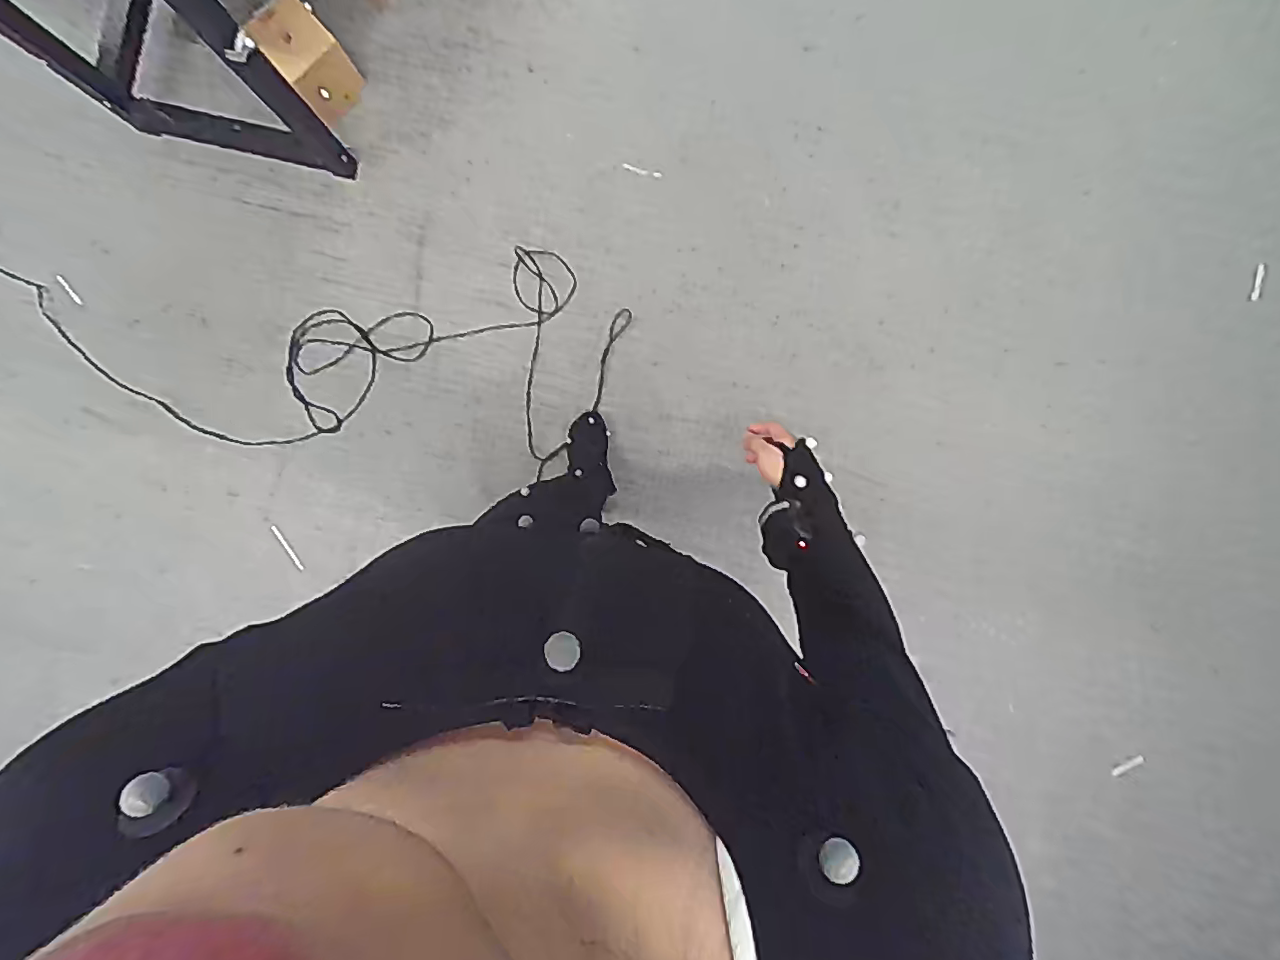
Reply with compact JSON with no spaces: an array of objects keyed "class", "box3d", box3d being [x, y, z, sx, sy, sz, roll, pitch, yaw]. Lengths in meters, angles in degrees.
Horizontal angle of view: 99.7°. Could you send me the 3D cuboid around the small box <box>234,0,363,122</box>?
[{"class":"small box","box3d":[-0.839,-1.043,1.350,0.168,0.176,0.179,-44,91,-1]}]
